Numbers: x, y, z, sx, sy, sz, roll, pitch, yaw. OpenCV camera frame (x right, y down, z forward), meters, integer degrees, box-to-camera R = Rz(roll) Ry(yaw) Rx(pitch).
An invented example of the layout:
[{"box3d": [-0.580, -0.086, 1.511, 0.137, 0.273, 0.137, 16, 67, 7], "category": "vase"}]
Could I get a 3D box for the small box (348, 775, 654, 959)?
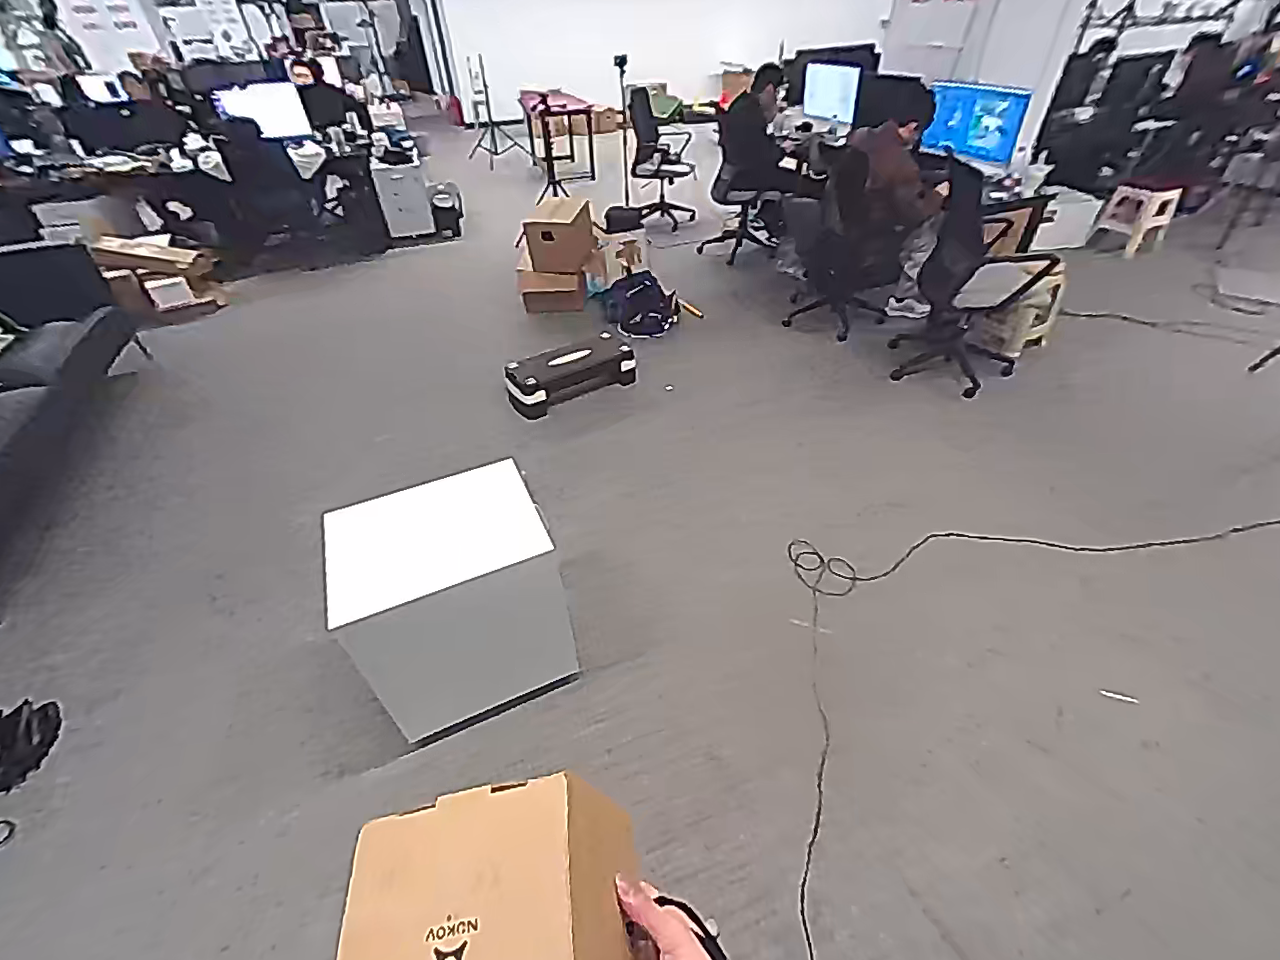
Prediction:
[{"box3d": [-0.089, 0.348, 0.395, 0.168, 0.176, 0.179, -18, 46, 5], "category": "small box"}]
